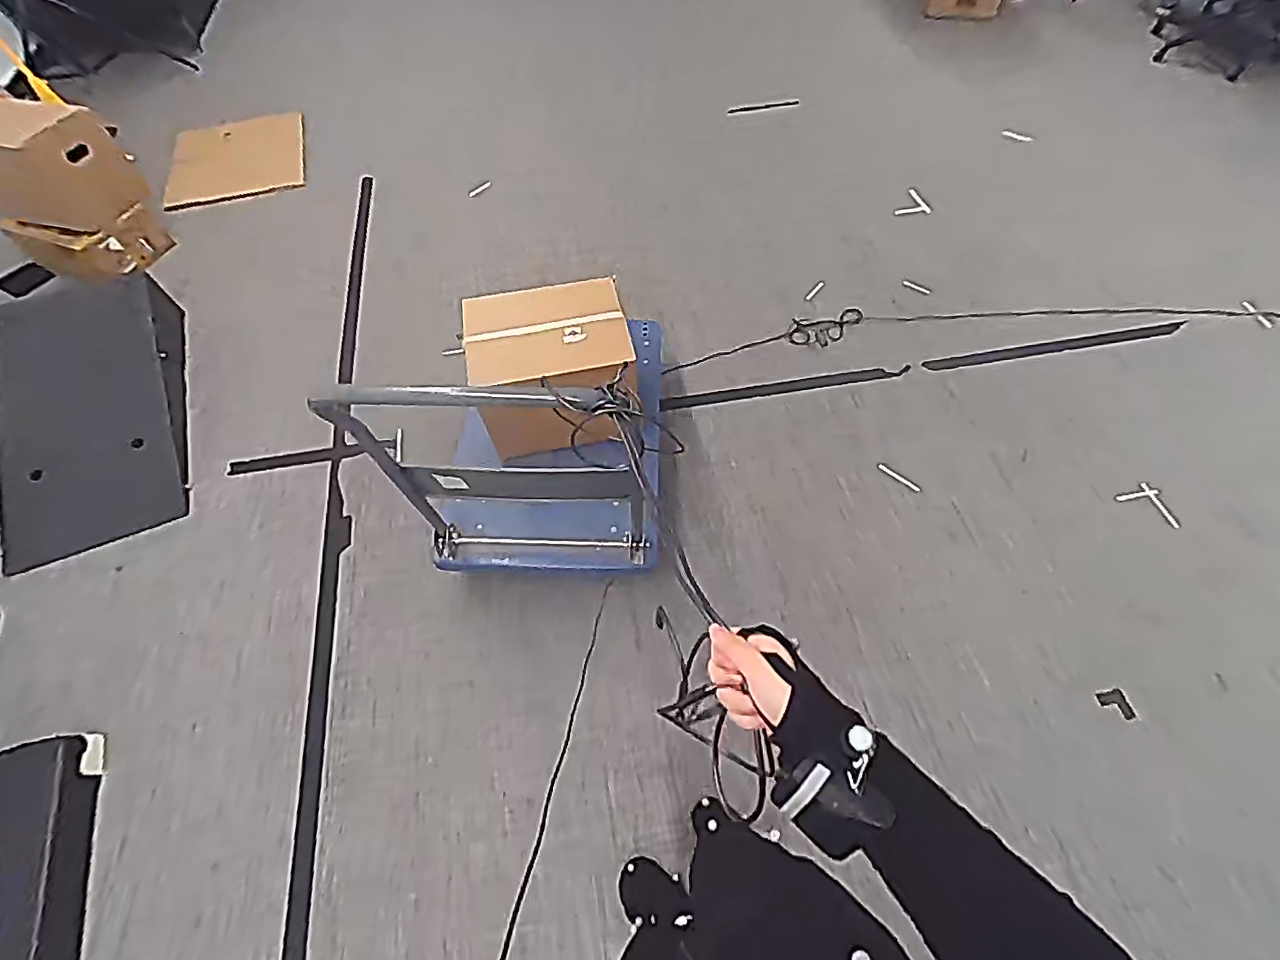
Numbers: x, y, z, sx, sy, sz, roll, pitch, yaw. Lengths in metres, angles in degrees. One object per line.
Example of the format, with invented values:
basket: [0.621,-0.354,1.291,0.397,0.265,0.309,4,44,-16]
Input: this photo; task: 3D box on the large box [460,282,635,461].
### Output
large box: [-0.242,-0.289,1.479,0.408,0.320,0.320,-11,60,-6]
